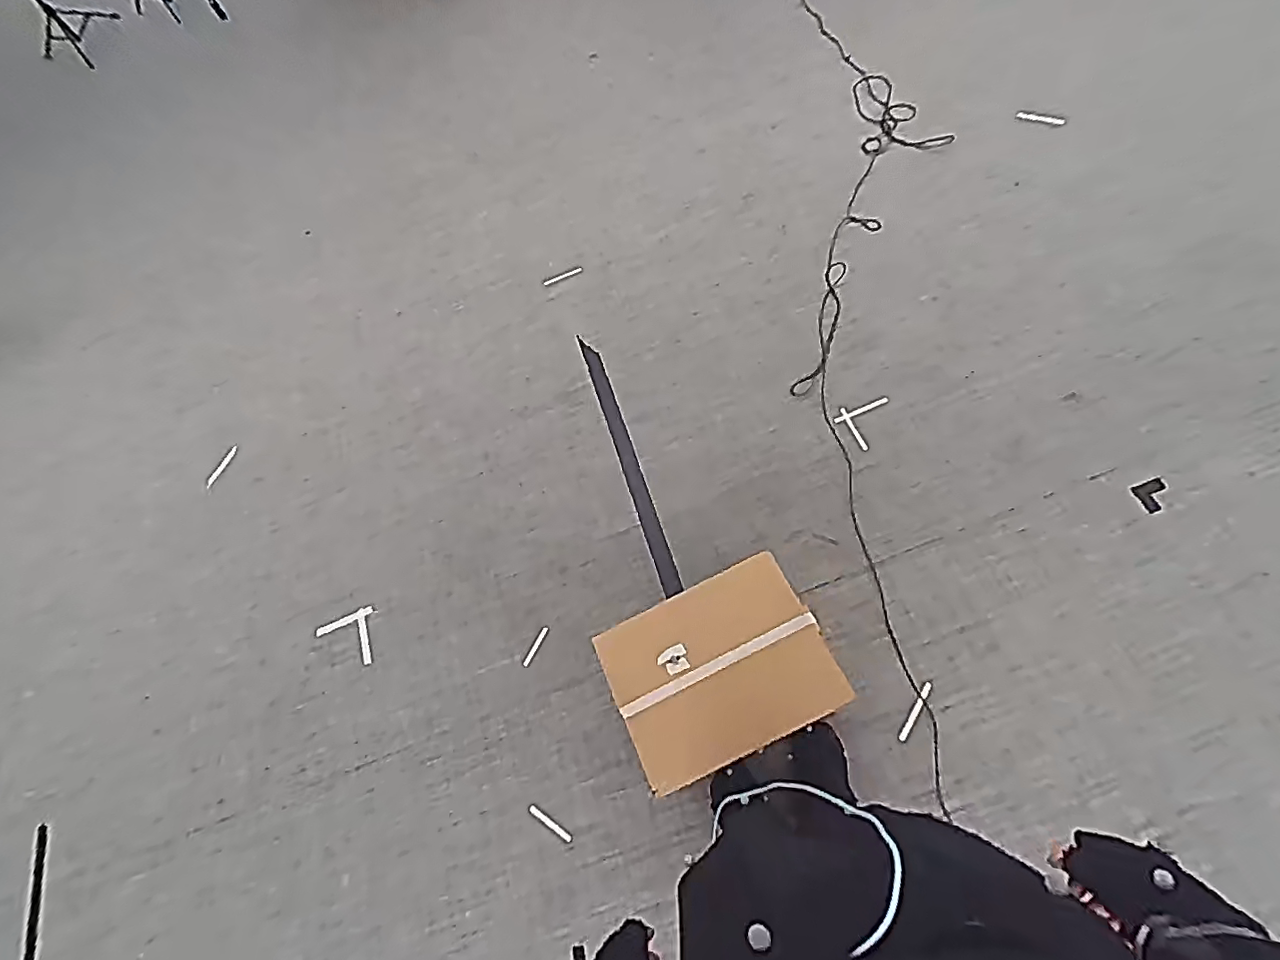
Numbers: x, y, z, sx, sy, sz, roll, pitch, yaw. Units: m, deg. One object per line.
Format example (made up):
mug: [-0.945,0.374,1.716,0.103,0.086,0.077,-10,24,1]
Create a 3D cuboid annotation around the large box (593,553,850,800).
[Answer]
large box: [0.172,0.412,1.159,0.408,0.320,0.320,-28,64,1]
